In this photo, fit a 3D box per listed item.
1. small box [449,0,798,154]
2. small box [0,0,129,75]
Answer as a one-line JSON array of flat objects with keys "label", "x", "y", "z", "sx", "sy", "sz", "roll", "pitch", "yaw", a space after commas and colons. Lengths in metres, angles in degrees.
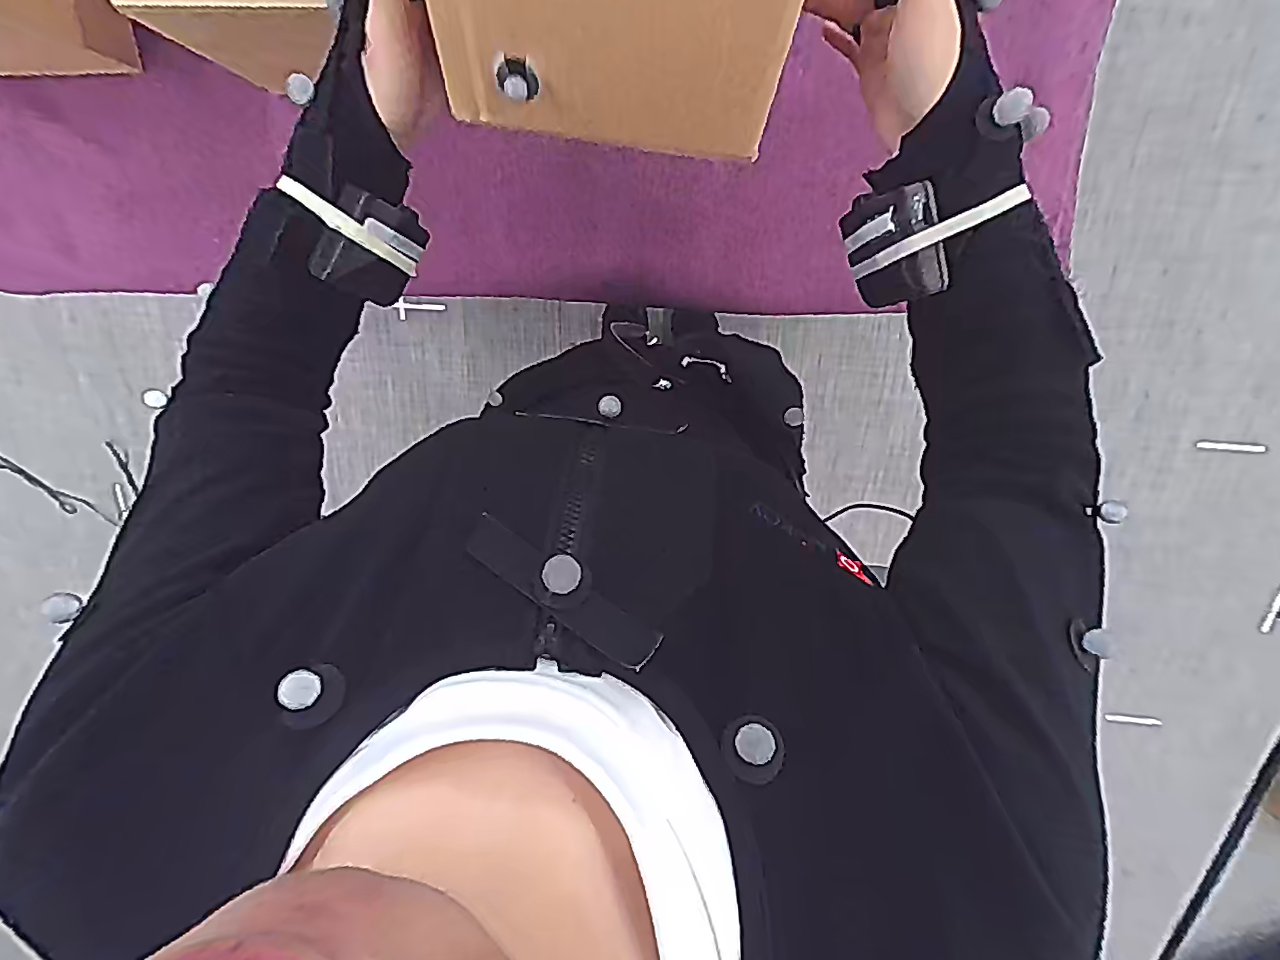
[{"label": "small box", "x": -0.002, "y": -0.301, "z": 0.261, "sx": 0.179, "sy": 0.176, "sz": 0.168, "roll": 6, "pitch": 68, "yaw": -4}, {"label": "small box", "x": -0.572, "y": -0.455, "z": 0.434, "sx": 0.179, "sy": 0.176, "sz": 0.168, "roll": 1, "pitch": 108, "yaw": 1}]
